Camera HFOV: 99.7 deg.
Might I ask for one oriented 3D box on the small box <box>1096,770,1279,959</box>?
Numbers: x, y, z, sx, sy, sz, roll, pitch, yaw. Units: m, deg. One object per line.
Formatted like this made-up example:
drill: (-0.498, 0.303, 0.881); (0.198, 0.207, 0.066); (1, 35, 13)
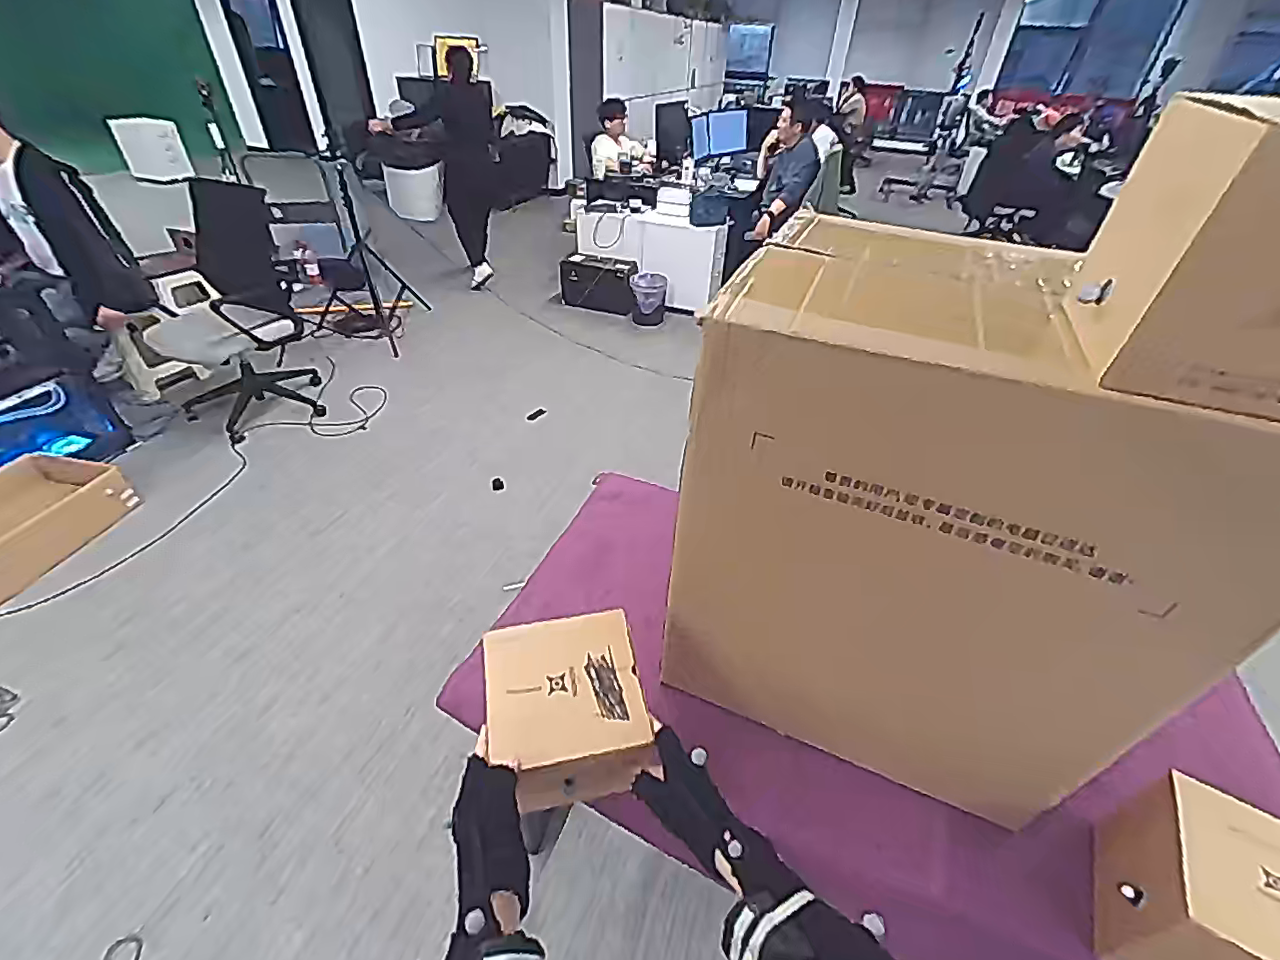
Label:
small box: (0.646, 0.478, 0.598); (0.168, 0.176, 0.179); (24, 42, 24)

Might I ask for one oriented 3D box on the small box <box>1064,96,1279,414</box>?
small box: (0.447, -0.161, 0.385); (0.168, 0.176, 0.179); (16, 42, 16)

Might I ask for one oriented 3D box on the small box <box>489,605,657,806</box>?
small box: (-0.089, 0.280, 0.673); (0.179, 0.176, 0.168); (-6, 47, -12)
